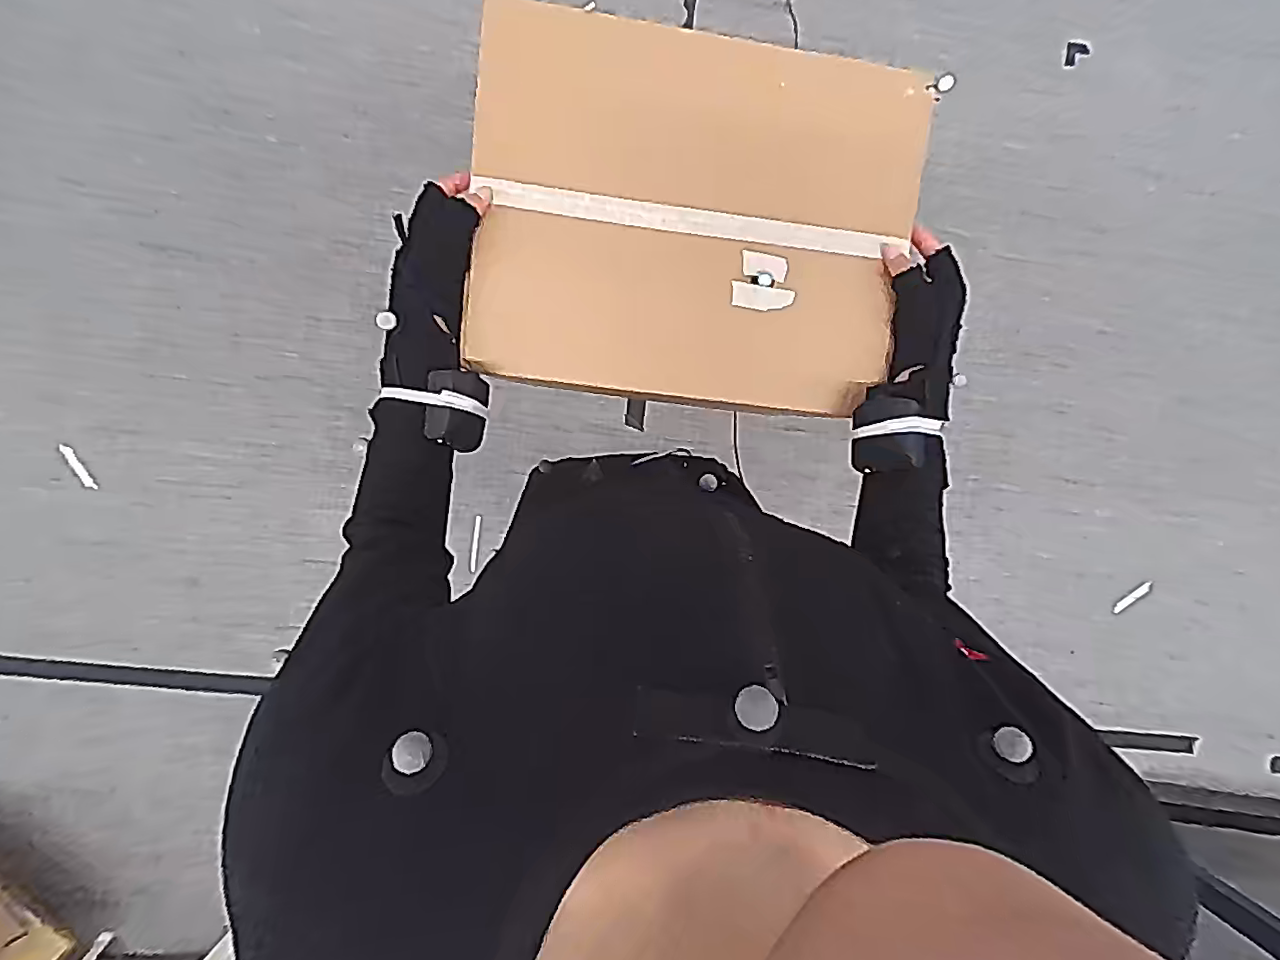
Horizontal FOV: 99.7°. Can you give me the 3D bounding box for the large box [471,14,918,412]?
[{"bbox_3d":[0.036,-0.256,0.652,0.408,0.320,0.320,6,98,-7],"label":"large box"}]
